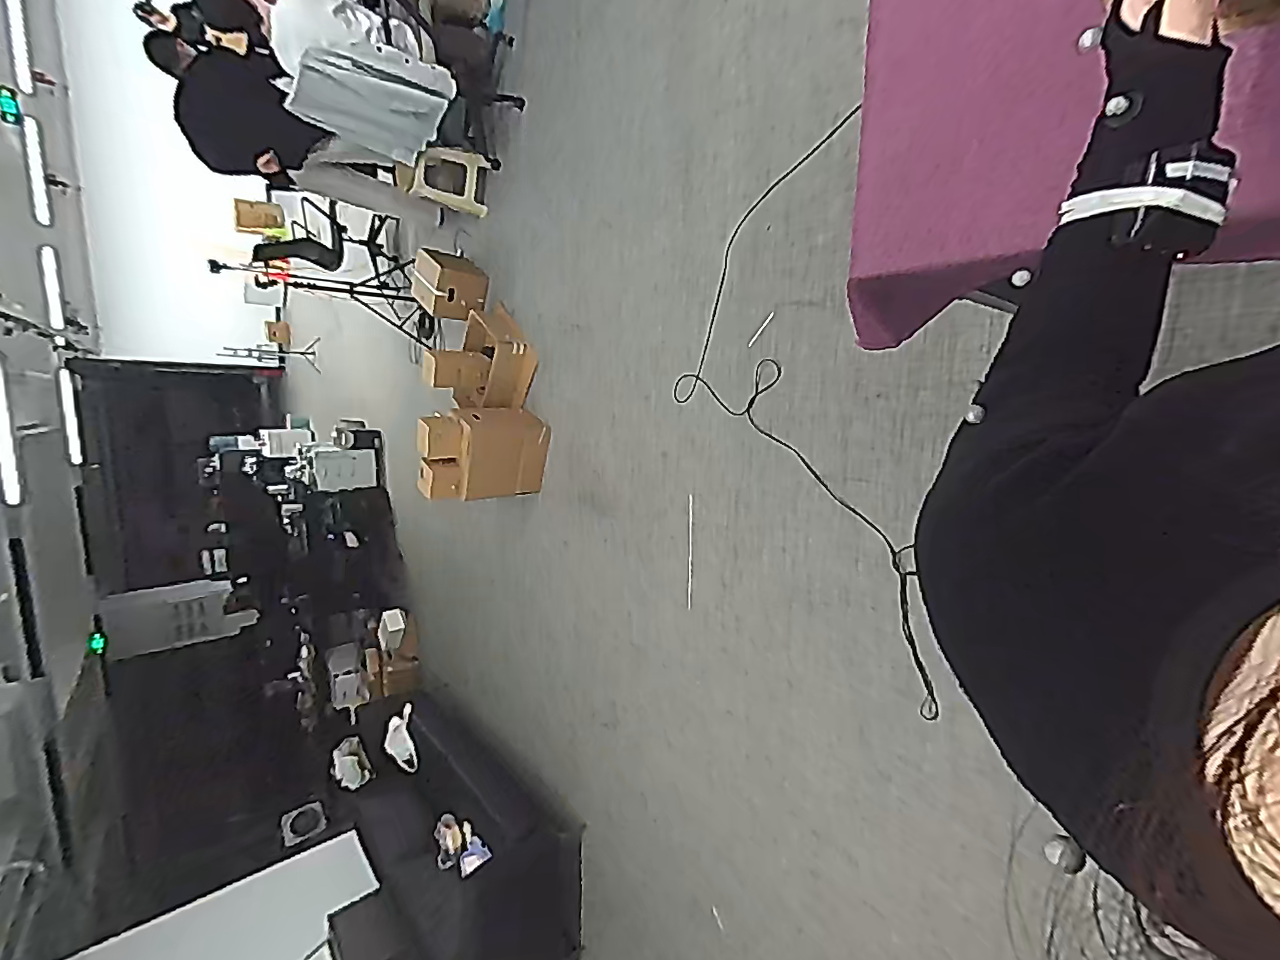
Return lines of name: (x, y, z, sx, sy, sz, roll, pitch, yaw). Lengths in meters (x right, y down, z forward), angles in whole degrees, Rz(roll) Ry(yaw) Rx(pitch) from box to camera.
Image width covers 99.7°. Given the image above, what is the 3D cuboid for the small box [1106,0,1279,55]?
small box: (0.457, -0.462, 0.383, 0.168, 0.176, 0.179, 26, 101, 47)
